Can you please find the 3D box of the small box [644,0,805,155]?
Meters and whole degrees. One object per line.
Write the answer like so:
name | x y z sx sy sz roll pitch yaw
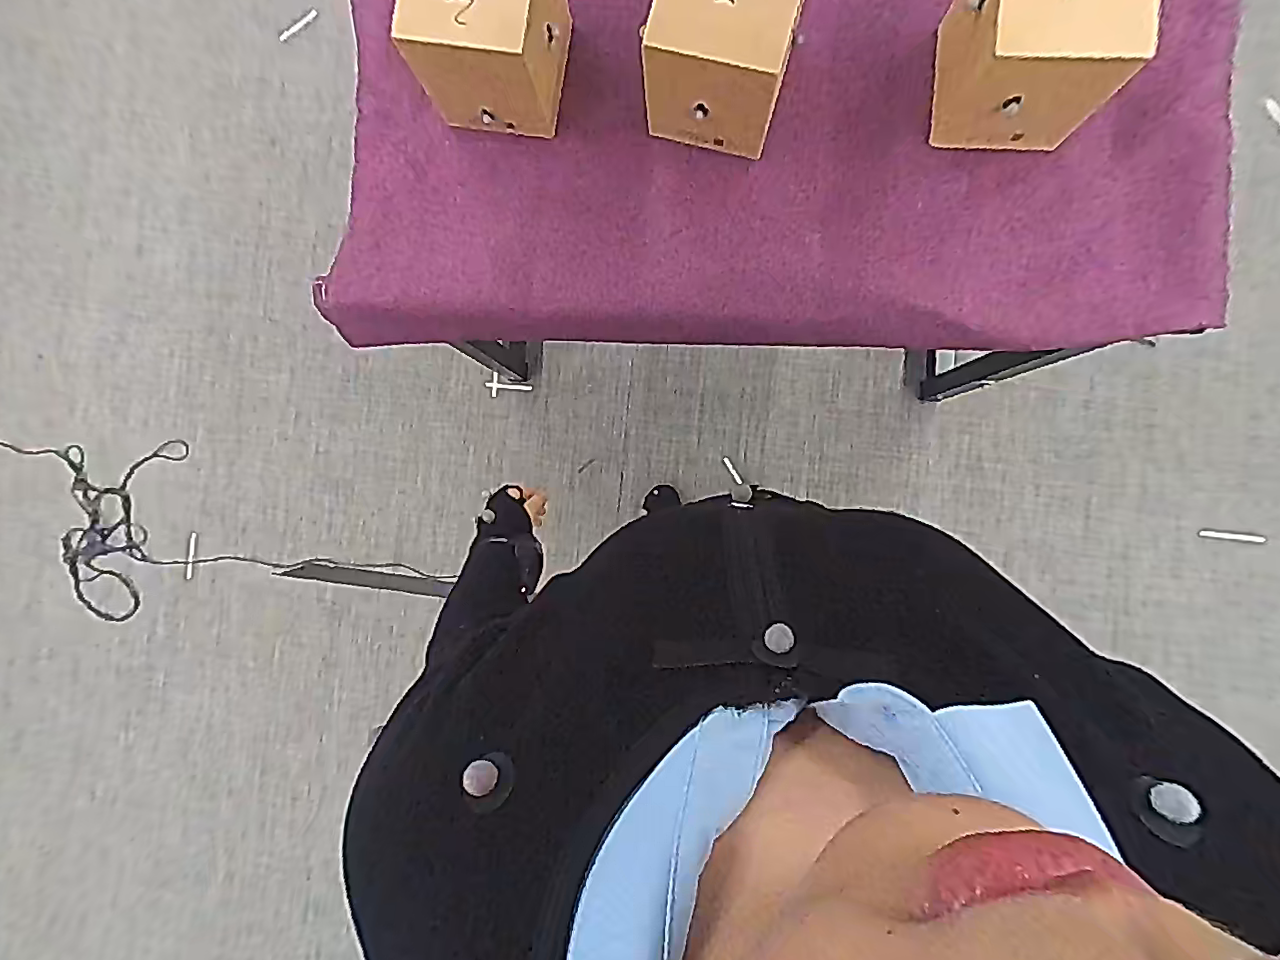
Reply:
small box | 0.112 -0.565 0.702 0.168 0.176 0.179 16 90 4

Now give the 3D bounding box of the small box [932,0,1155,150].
small box | 0.488 -0.545 0.675 0.168 0.176 0.179 5 89 5
